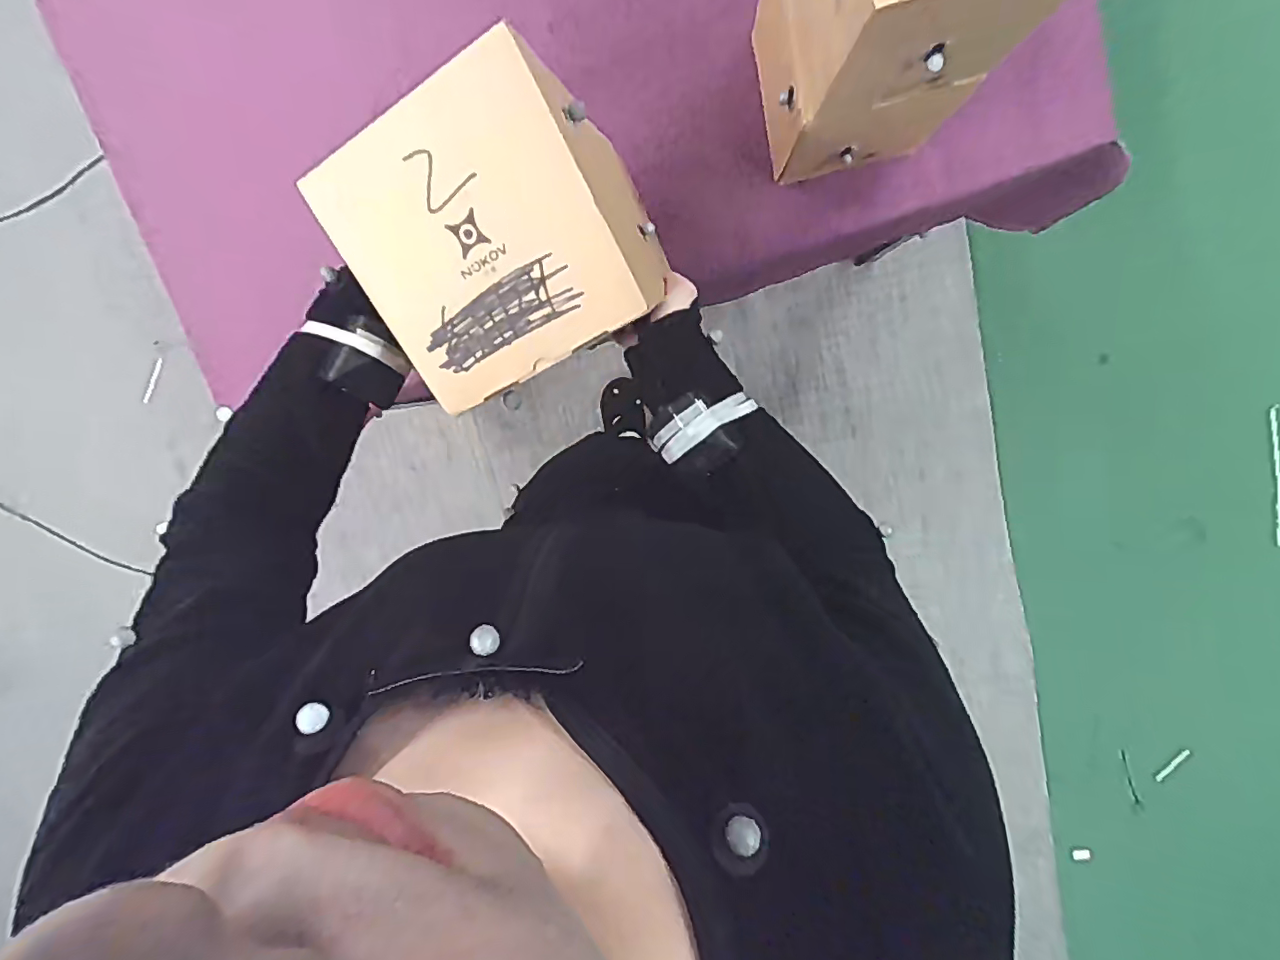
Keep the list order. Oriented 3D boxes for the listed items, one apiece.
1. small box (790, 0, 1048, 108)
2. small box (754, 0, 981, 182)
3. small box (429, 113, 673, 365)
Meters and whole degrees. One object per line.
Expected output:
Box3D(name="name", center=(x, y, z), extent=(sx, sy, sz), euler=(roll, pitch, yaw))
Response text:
Box3D(name="small box", center=(0.214, -0.420, 0.409), extent=(0.168, 0.176, 0.179), euler=(-13, 100, 6))
Box3D(name="small box", center=(0.224, -0.451, 0.571), extent=(0.168, 0.176, 0.179), euler=(-11, 100, 6))
Box3D(name="small box", center=(-0.077, -0.243, 0.576), extent=(0.179, 0.176, 0.168), euler=(-21, 109, 16))
